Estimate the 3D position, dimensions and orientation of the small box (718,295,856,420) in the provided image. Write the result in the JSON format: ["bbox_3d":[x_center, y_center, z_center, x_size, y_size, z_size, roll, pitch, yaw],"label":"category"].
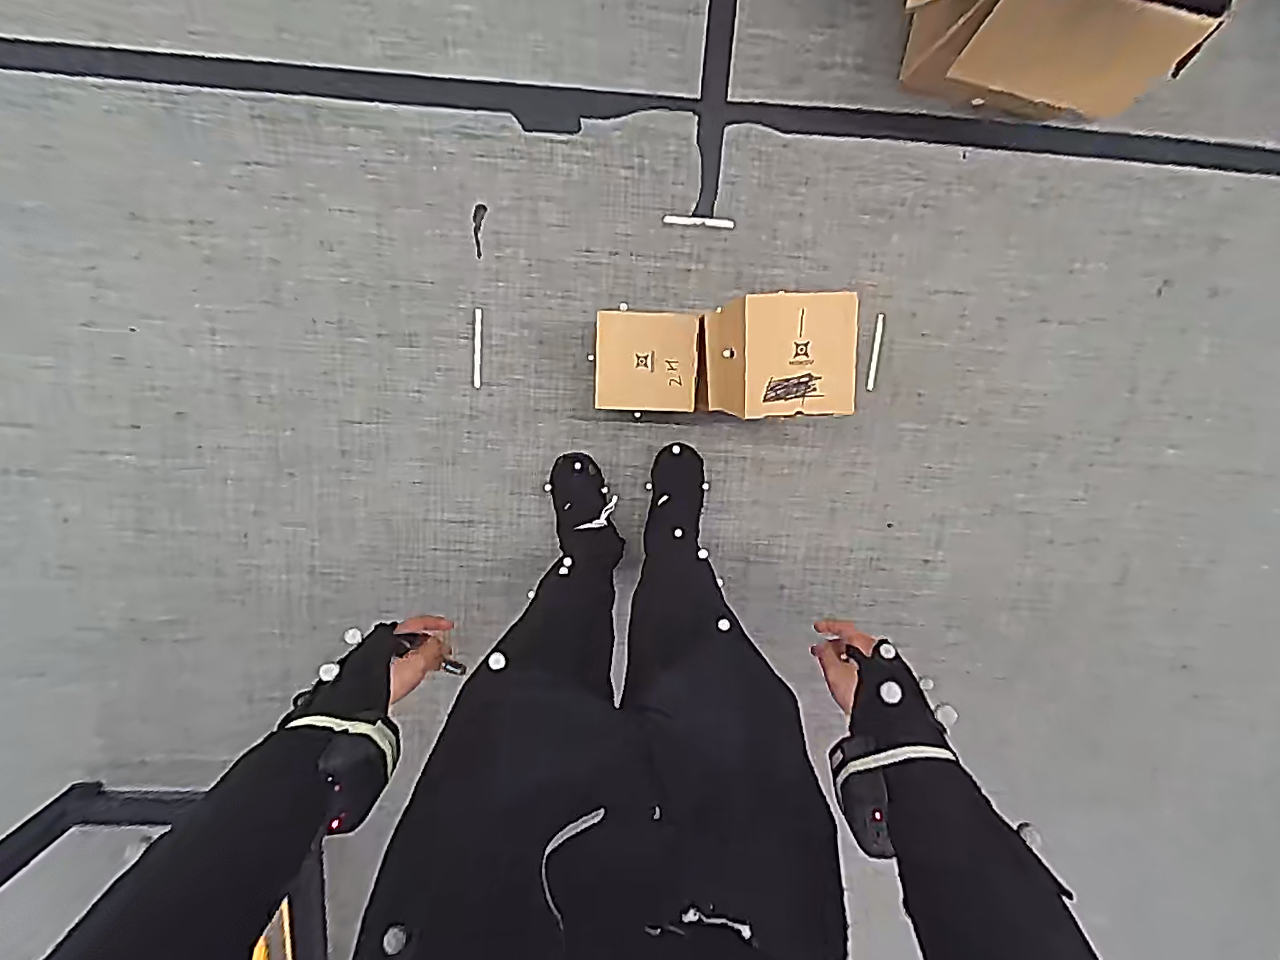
[{"bbox_3d":[0.222,-0.191,0.854,0.168,0.176,0.179,-2,101,-3],"label":"small box"}]
